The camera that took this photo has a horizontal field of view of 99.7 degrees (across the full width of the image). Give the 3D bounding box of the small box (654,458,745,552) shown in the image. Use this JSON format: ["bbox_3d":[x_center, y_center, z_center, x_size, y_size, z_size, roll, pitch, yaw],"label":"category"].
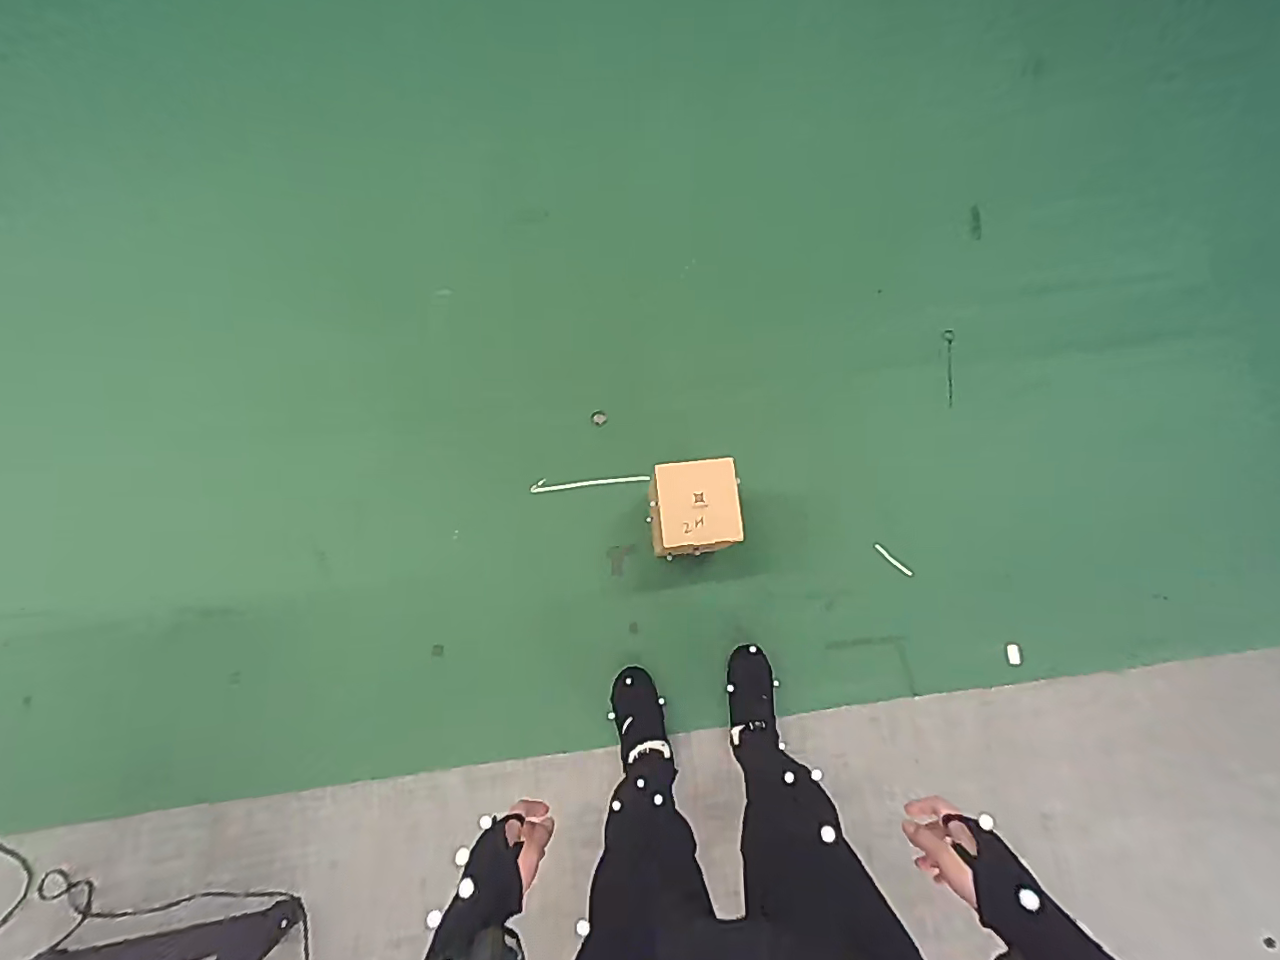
[{"bbox_3d":[0.122,0.060,1.177,0.168,0.176,0.179,-5,80,-2],"label":"small box"}]
